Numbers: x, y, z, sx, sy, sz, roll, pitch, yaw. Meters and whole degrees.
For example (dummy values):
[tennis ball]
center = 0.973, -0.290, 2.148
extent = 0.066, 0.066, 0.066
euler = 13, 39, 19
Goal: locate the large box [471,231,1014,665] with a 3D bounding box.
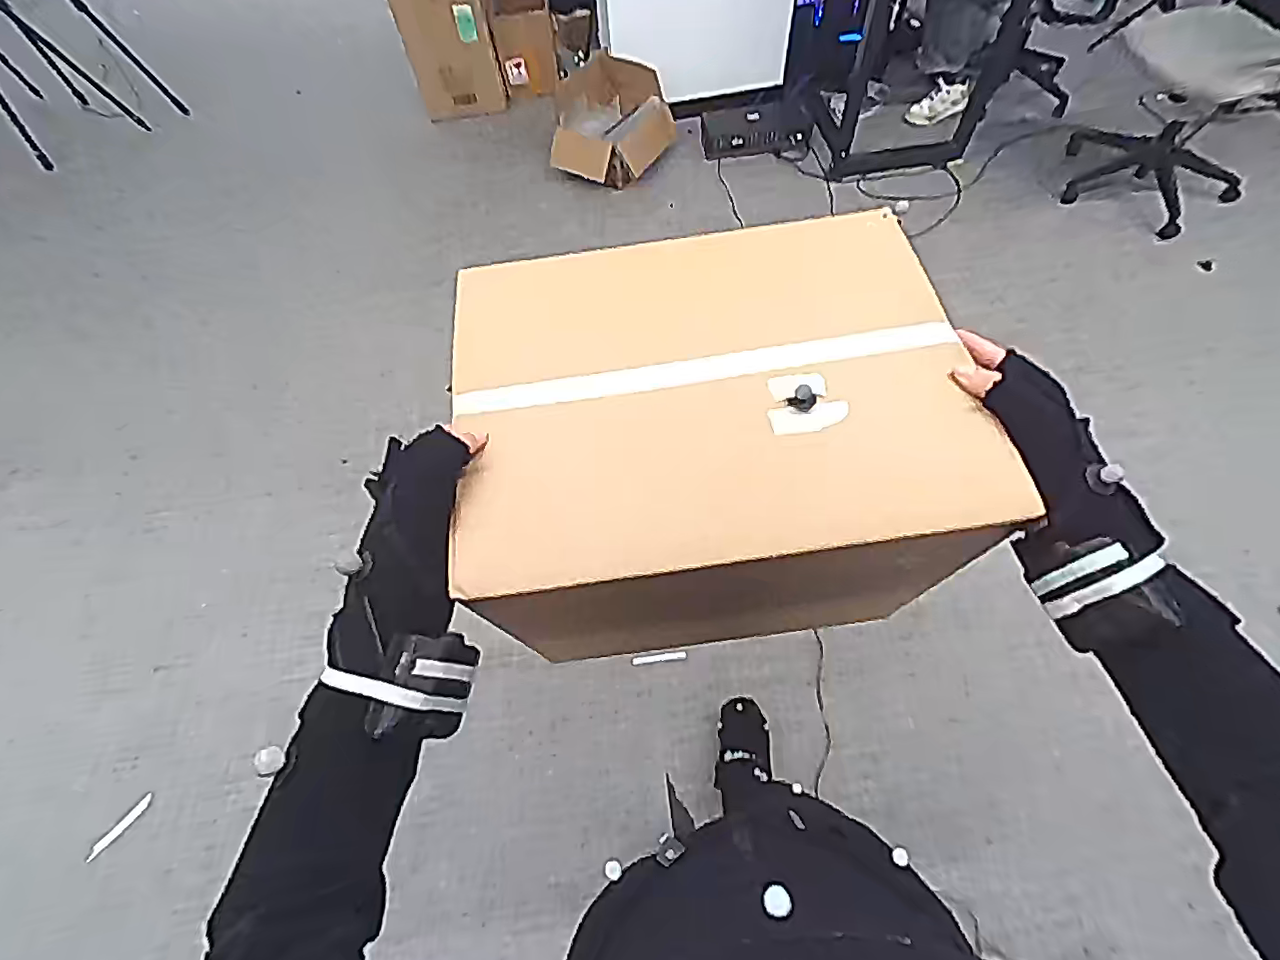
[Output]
[large box]
center = 0.063, -0.010, 0.585
extent = 0.408, 0.320, 0.320
euler = -9, 63, 0
